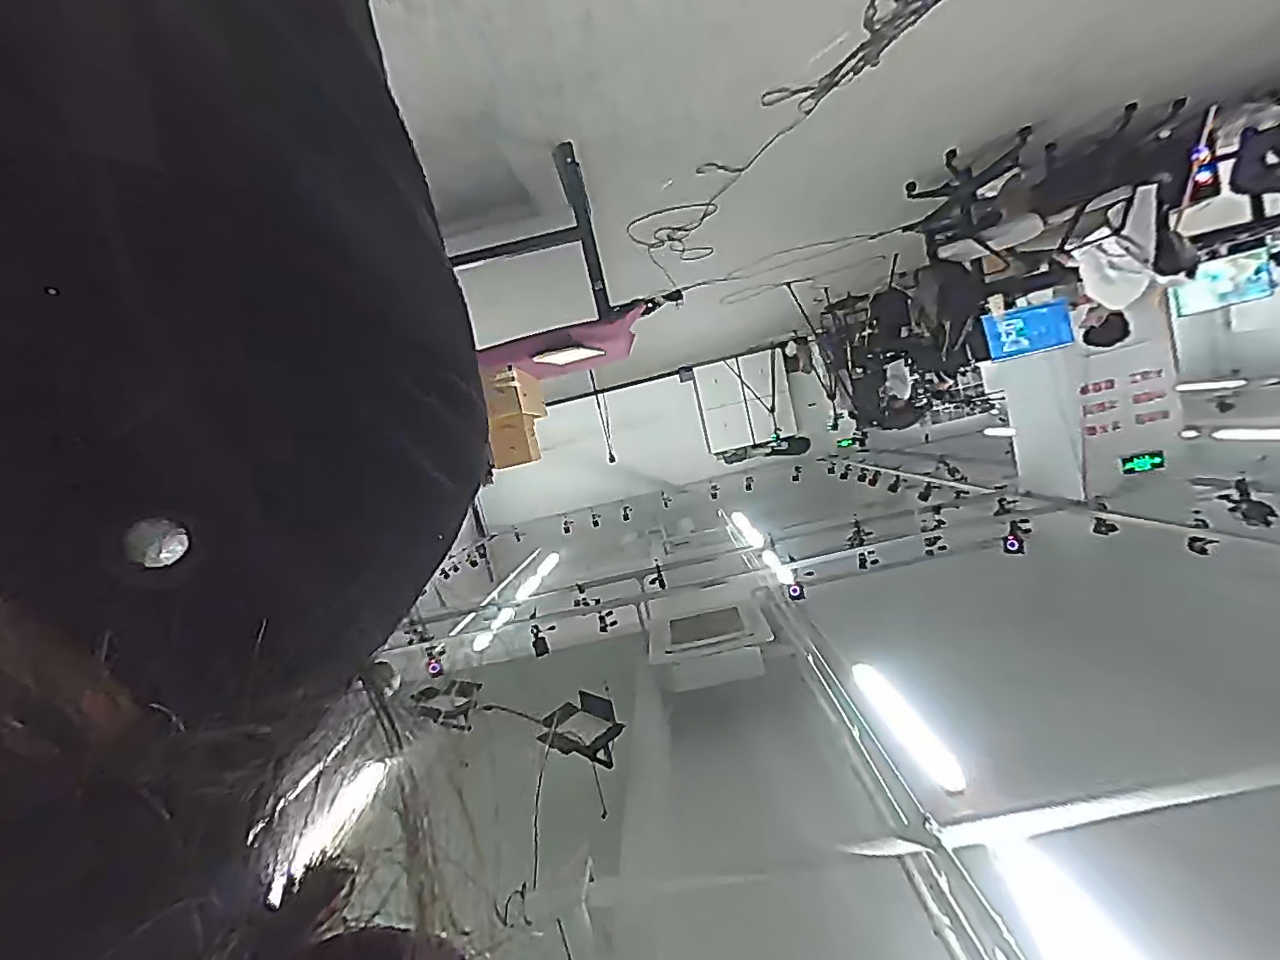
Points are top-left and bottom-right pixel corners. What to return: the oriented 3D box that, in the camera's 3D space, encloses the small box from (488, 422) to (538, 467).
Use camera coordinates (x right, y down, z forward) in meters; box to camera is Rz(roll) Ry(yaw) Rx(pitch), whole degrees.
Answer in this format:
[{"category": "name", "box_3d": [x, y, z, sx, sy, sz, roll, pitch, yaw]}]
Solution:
[{"category": "small box", "box_3d": [-0.584, -0.163, 2.473, 0.179, 0.176, 0.168, -14, -176, 4]}]
